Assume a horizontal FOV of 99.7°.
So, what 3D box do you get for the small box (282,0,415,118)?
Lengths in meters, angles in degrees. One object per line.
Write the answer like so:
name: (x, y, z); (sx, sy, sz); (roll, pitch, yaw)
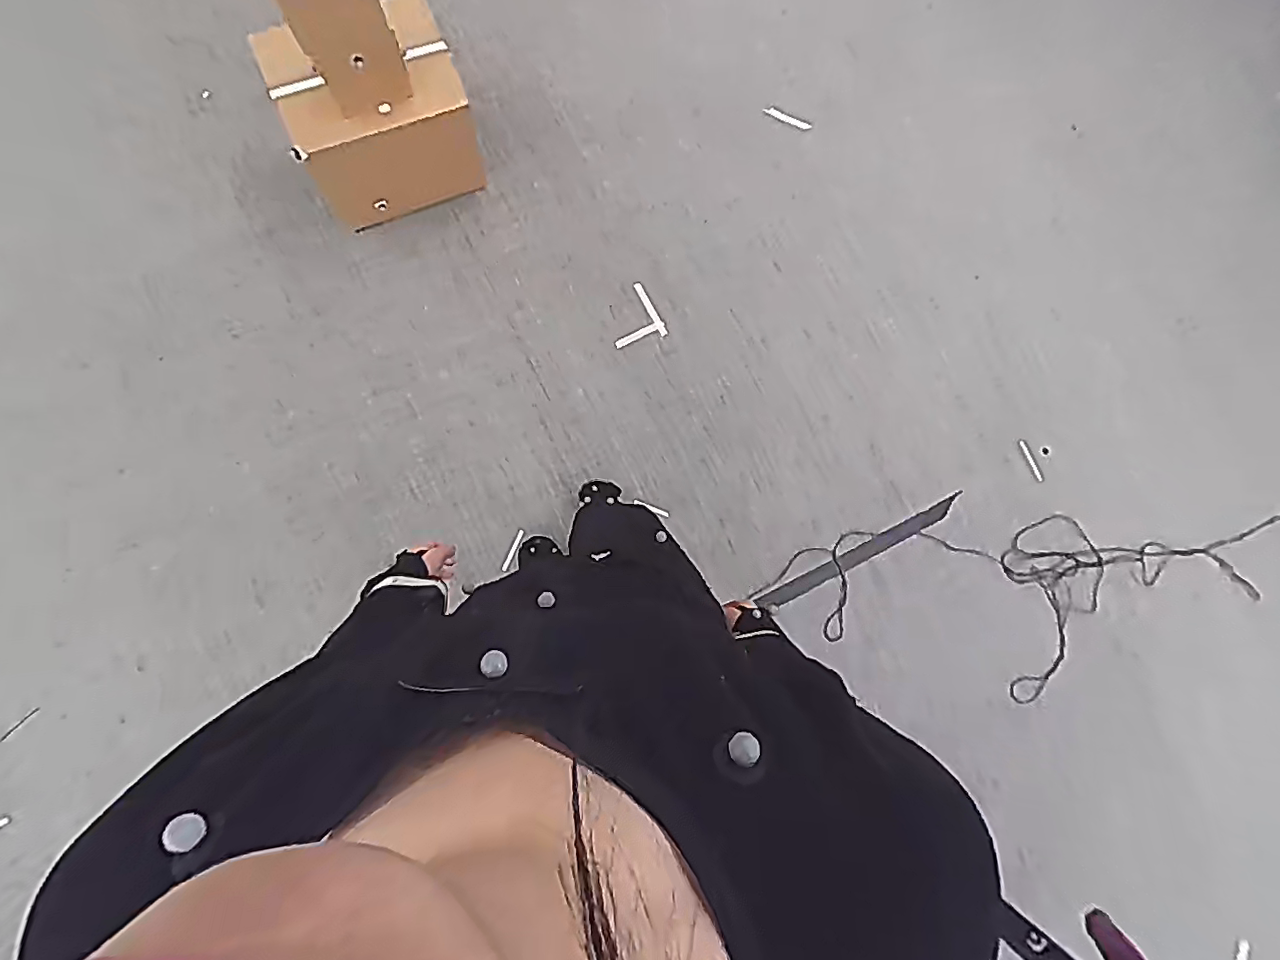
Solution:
small box: (-0.617, -0.927, 1.162); (0.179, 0.176, 0.168); (-27, 89, -10)
